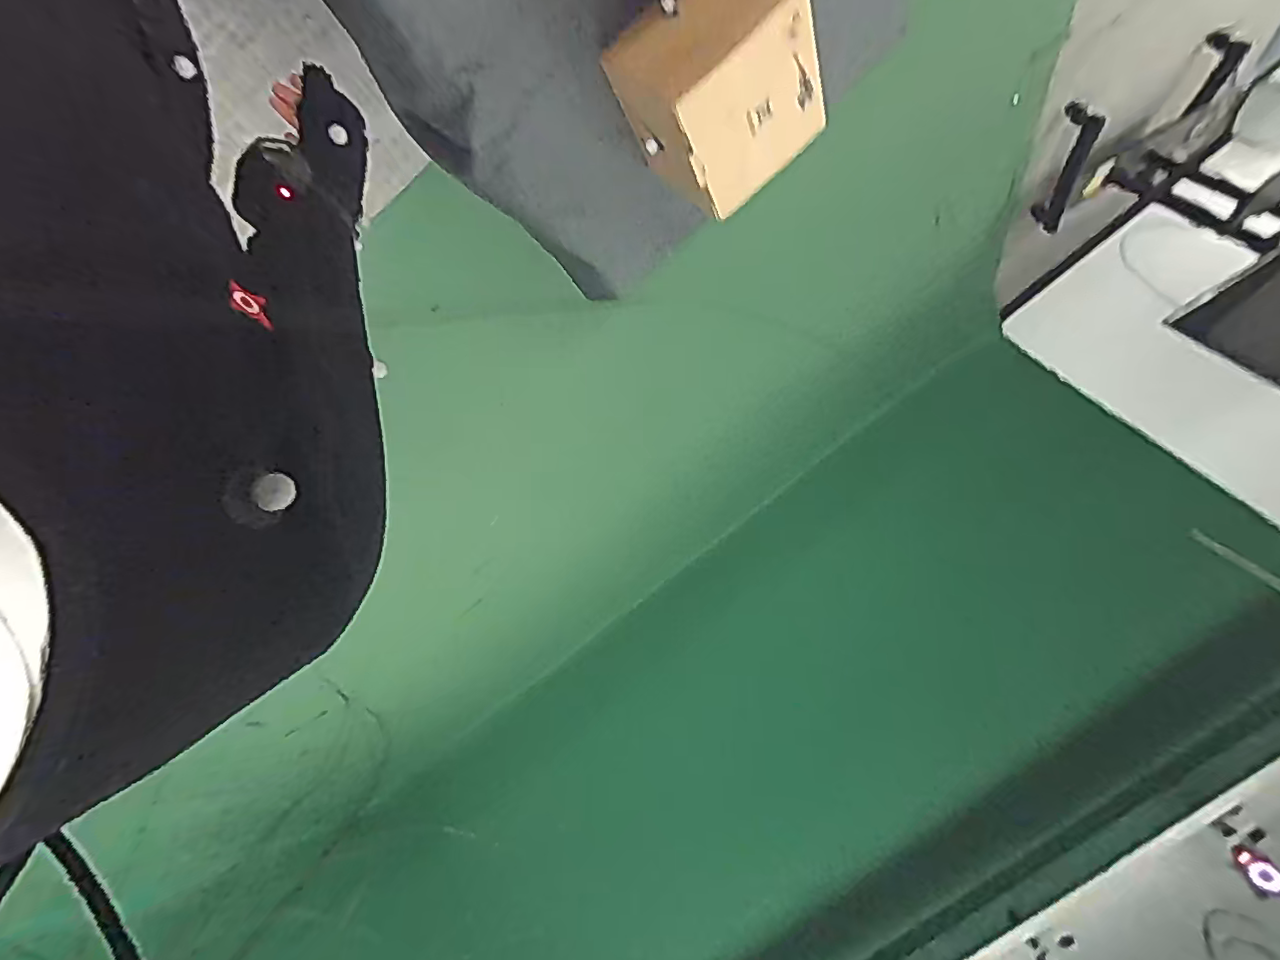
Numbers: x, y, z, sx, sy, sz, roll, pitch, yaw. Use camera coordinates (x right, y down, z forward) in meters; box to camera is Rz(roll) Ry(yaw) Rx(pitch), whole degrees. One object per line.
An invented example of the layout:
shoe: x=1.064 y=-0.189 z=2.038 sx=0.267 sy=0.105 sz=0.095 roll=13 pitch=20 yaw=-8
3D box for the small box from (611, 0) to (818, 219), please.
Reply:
small box: x=0.086 y=-0.471 z=0.659 sx=0.179 sy=0.176 sz=0.168 roll=-39 pitch=151 yaw=7
